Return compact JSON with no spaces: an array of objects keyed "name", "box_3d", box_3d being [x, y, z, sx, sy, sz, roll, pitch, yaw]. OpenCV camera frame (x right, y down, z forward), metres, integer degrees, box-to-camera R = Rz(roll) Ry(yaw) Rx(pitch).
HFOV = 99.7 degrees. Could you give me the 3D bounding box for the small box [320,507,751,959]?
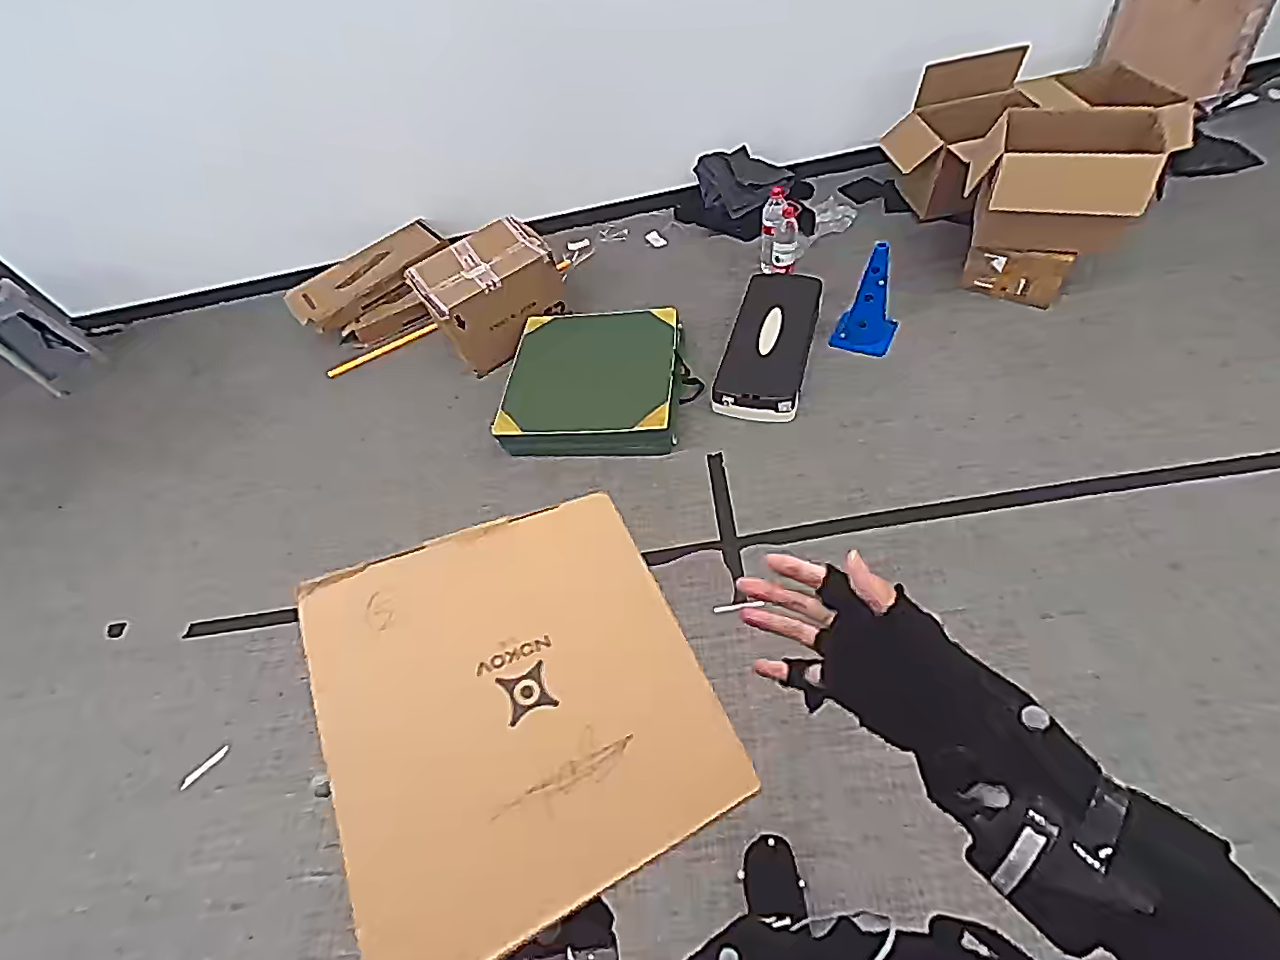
[{"name":"small box","box_3d":[-0.071,0.148,0.327,0.168,0.176,0.179,-16,61,-24]}]
